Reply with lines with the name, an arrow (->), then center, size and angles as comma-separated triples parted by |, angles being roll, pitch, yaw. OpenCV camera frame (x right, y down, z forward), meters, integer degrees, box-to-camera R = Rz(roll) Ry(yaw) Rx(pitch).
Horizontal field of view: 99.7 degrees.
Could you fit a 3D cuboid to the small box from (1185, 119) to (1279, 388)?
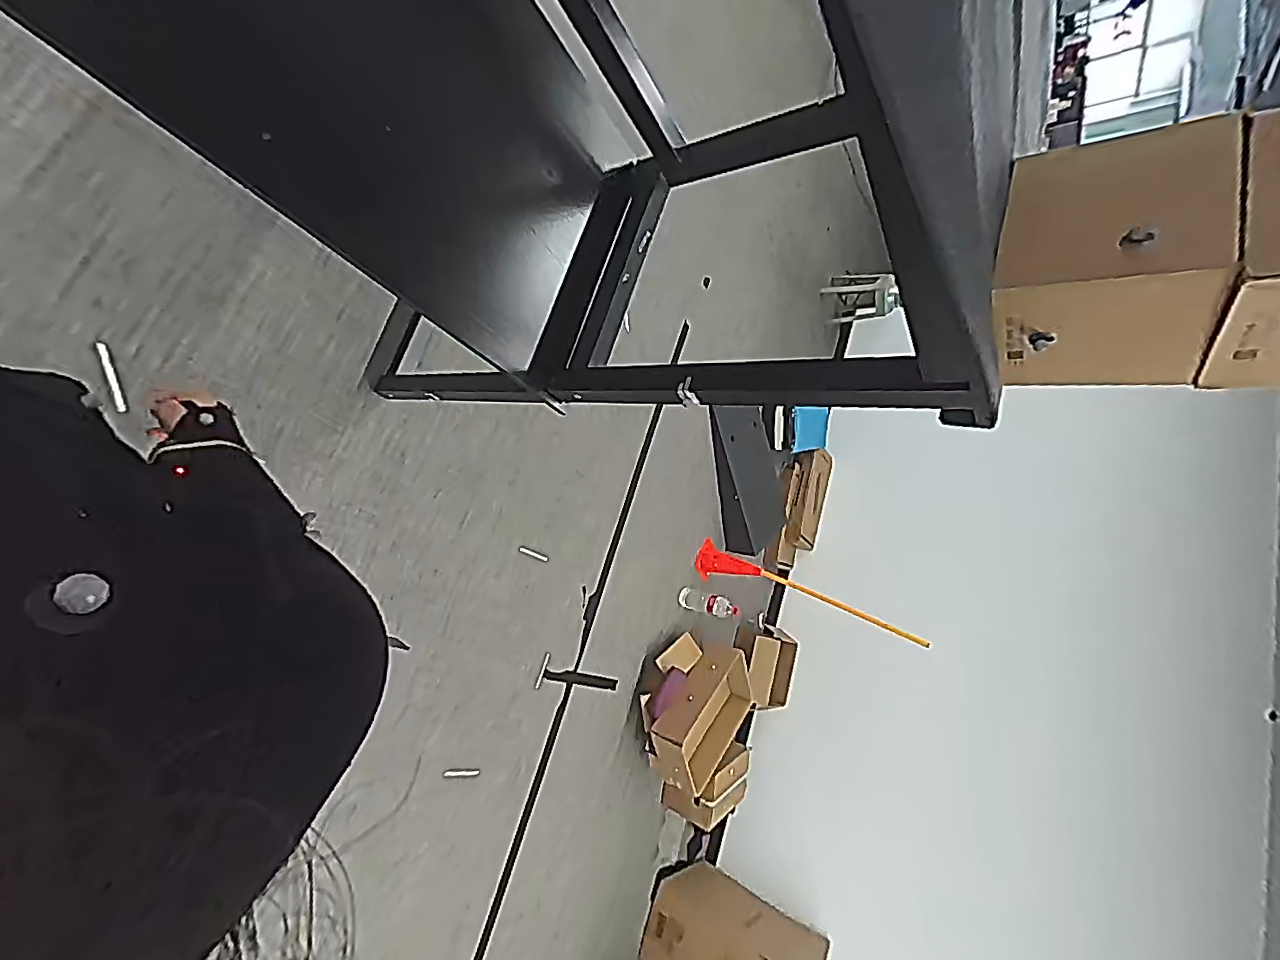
small box -> 0.594, -0.191, 0.451 | 0.168, 0.176, 0.179 | 35, 69, -49
